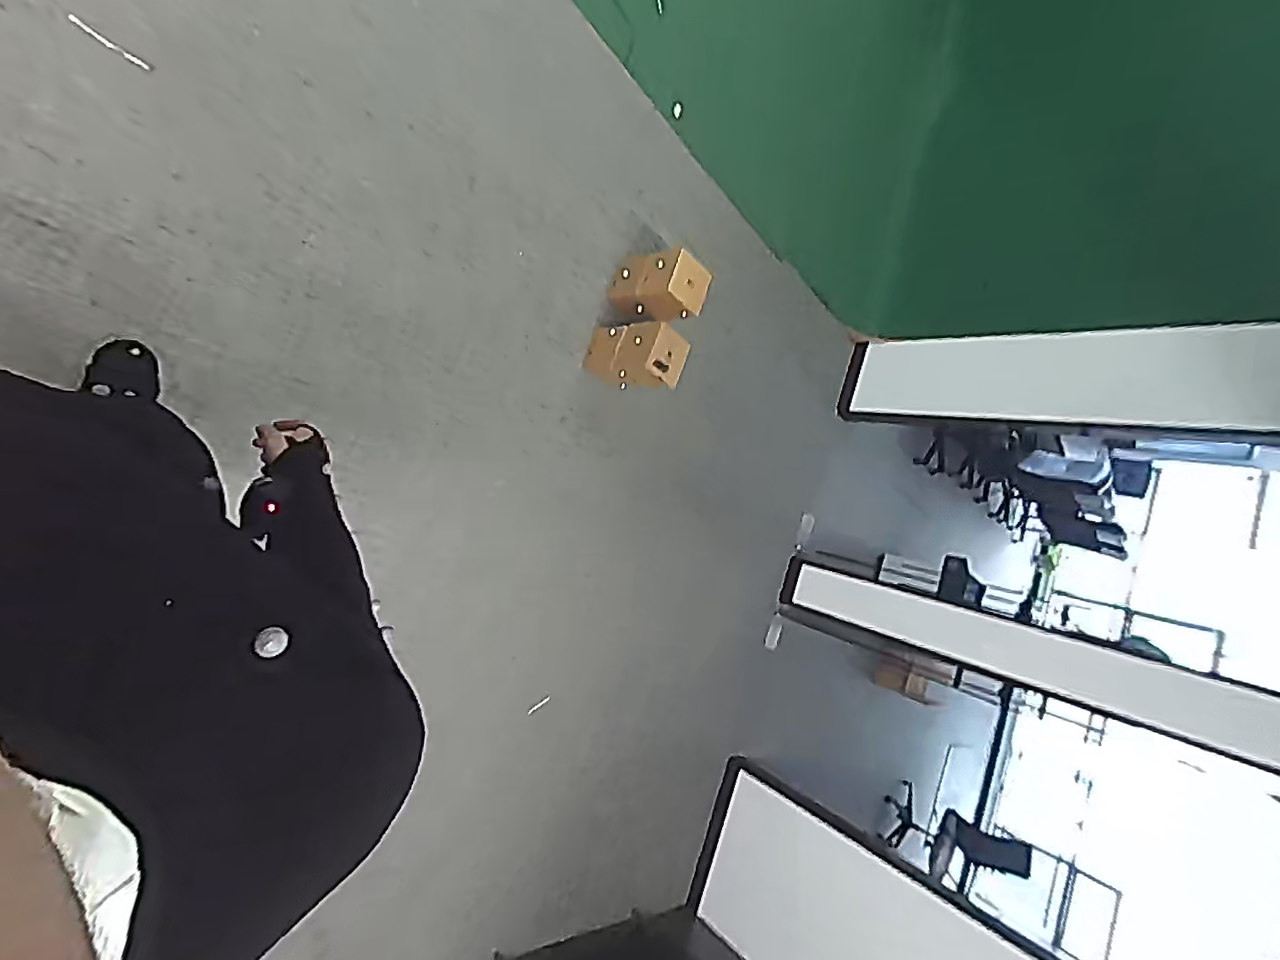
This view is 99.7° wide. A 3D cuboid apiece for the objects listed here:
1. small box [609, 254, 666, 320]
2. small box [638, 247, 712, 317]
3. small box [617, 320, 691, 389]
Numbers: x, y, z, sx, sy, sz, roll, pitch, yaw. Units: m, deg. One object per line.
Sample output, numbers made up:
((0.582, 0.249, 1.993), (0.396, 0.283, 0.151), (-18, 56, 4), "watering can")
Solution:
((0.014, -0.718, 2.036), (0.179, 0.176, 0.168), (28, 80, -43), "small box")
((0.122, -0.692, 1.918), (0.179, 0.176, 0.168), (26, 81, -43), "small box")
((0.042, -0.434, 1.893), (0.168, 0.176, 0.179), (30, 77, -43), "small box")
